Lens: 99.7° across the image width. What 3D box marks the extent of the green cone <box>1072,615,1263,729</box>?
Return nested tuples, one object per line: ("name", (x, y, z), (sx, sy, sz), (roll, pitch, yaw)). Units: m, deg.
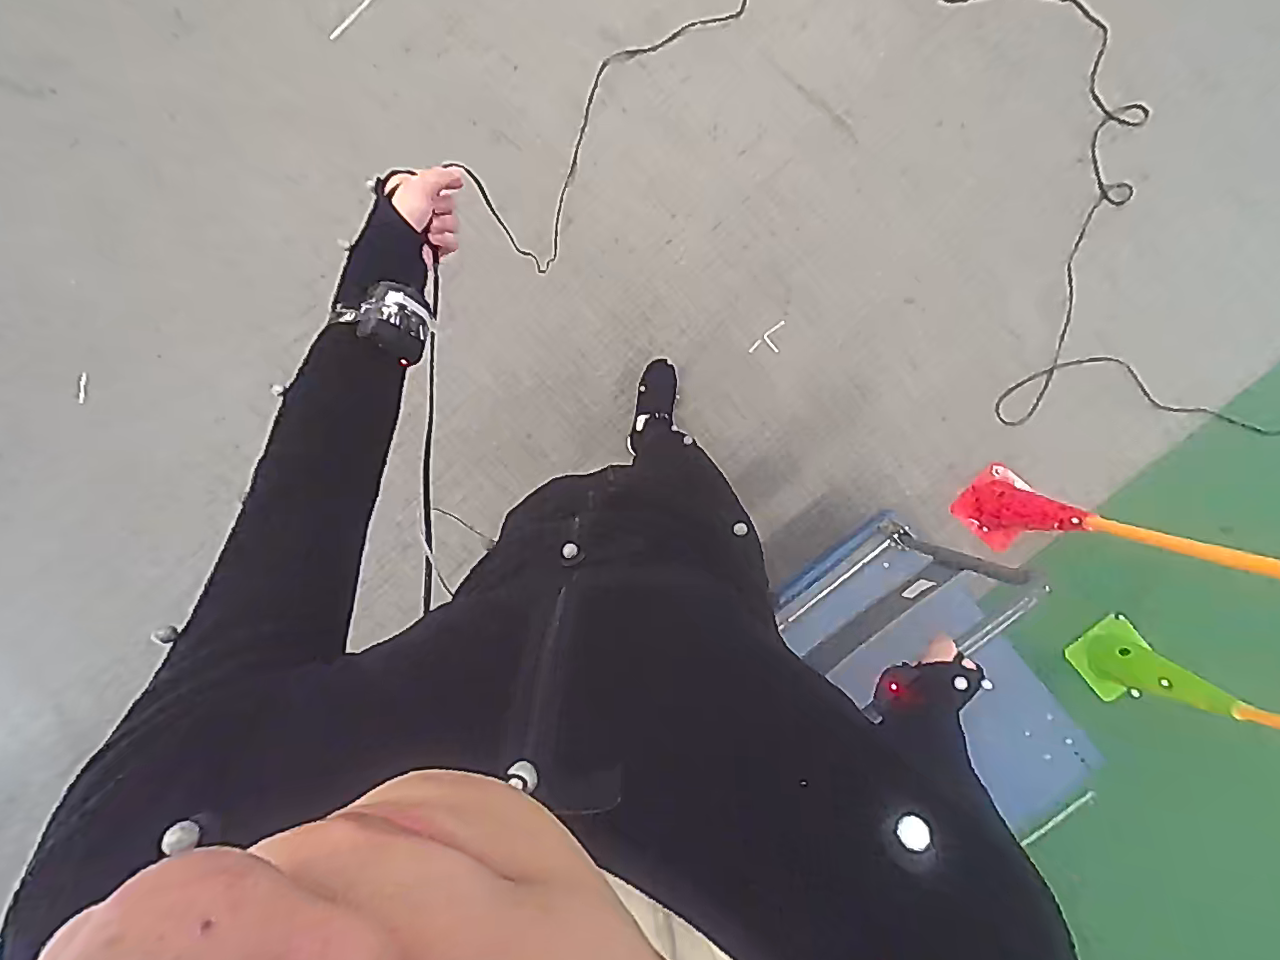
("green cone", (1.357, 0.520, 1.370), (0.200, 0.368, 0.202), (-41, 91, 3))
